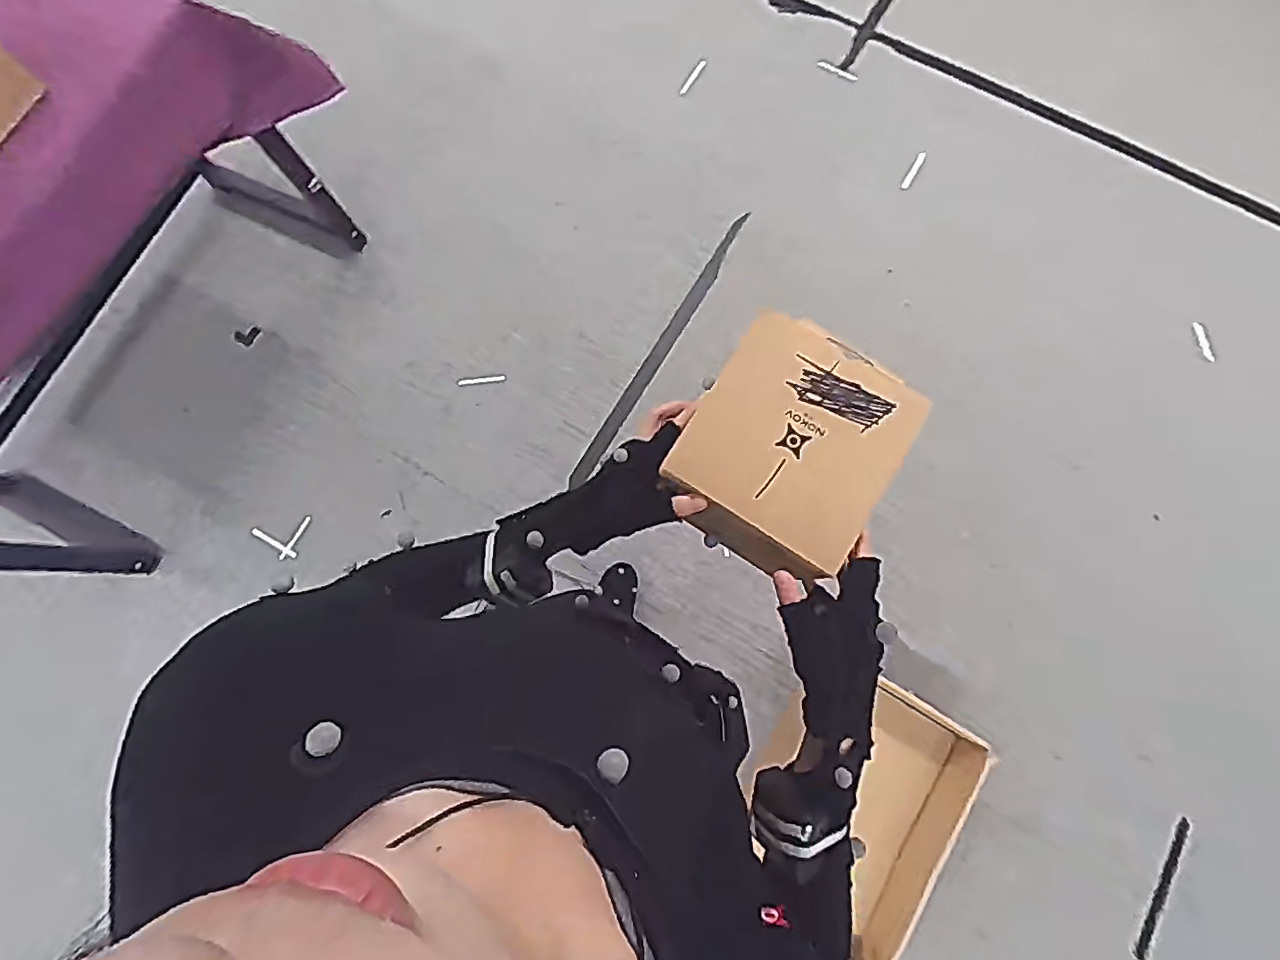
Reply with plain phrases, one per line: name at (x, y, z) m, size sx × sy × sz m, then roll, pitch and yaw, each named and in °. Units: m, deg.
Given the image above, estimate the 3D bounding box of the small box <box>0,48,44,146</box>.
small box at (-1.181, -0.689, 0.900) m, size 0.168 × 0.176 × 0.179 m, roll 27°, pitch 81°, yaw 6°

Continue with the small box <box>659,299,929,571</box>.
small box at (0.128, -0.029, 0.523) m, size 0.168 × 0.176 × 0.179 m, roll 33°, pitch 79°, yaw 6°
